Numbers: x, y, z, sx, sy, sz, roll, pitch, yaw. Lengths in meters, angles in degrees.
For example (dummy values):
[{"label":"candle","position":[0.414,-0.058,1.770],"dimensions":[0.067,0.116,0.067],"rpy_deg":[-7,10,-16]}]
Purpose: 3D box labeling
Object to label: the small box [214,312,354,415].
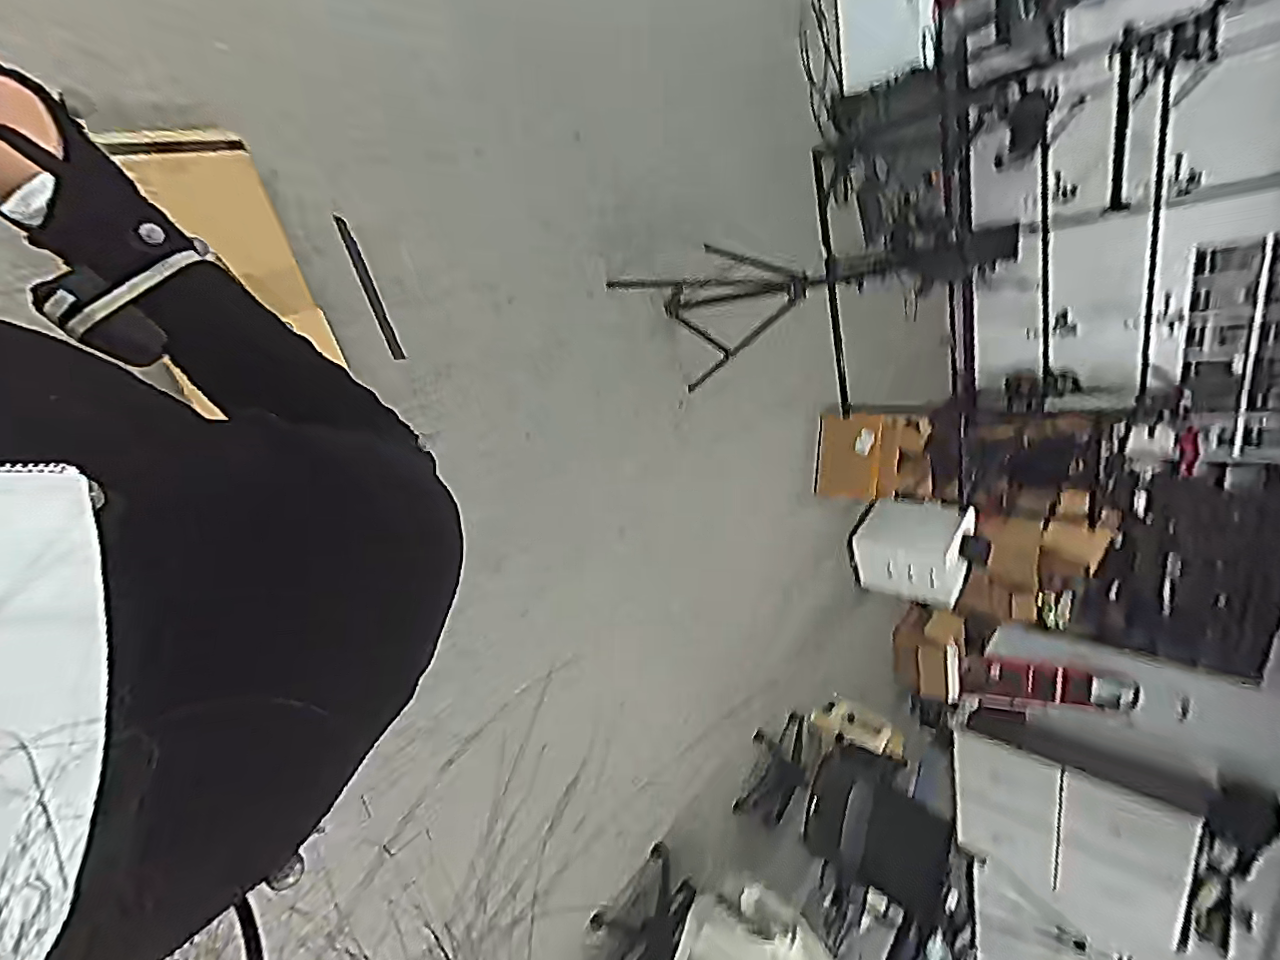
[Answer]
[{"label":"small box","position":[-0.741,-0.242,1.127],"dimensions":[0.179,0.176,0.168],"rpy_deg":[-33,117,-38]}]
